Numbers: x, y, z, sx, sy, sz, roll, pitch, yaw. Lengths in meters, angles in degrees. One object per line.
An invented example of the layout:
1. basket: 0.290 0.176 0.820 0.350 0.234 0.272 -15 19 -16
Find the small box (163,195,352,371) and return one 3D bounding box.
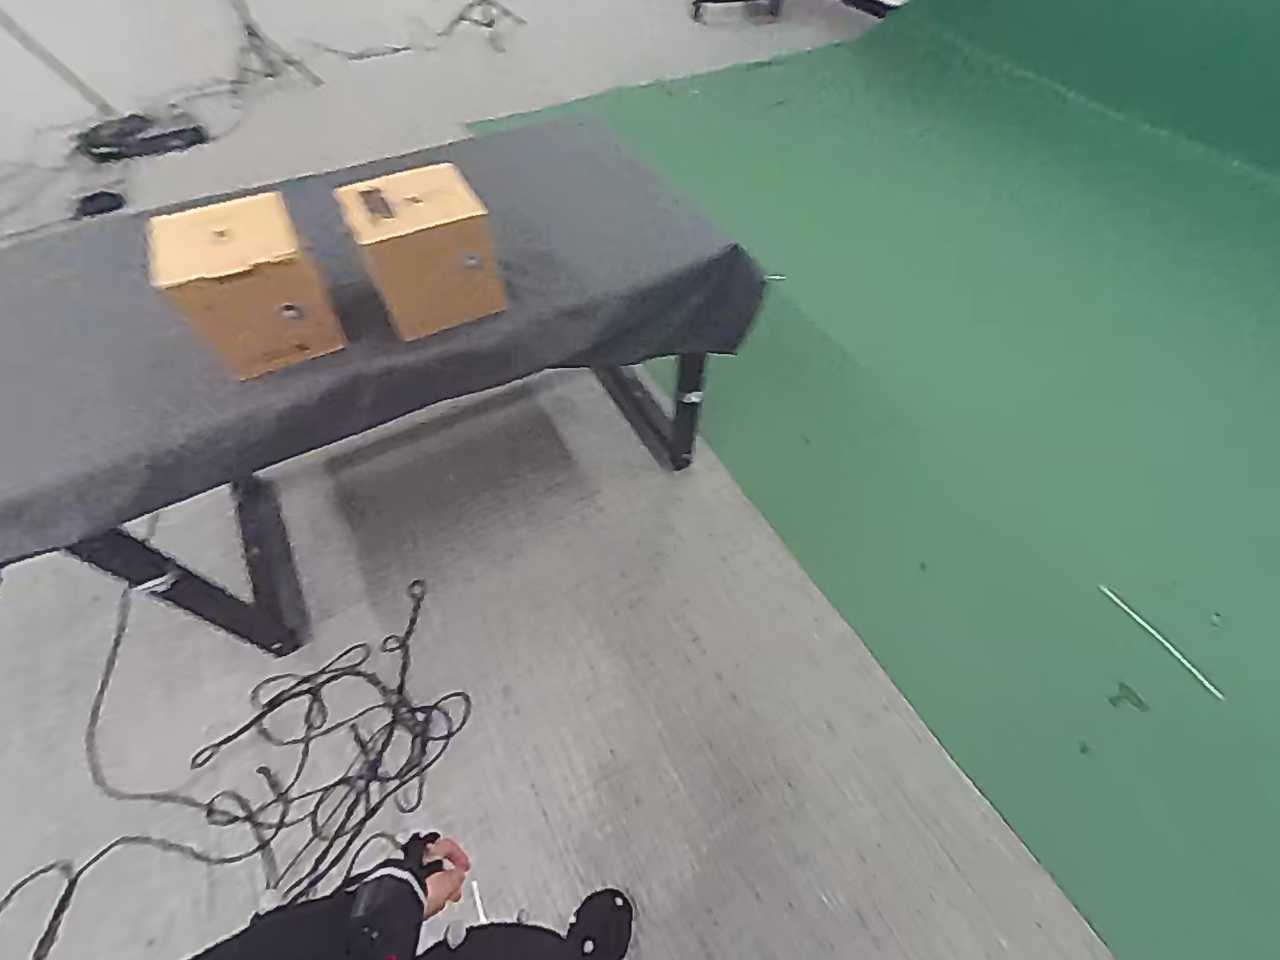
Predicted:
1. small box: -0.555 -0.283 0.801 0.168 0.176 0.179 -23 58 -17
